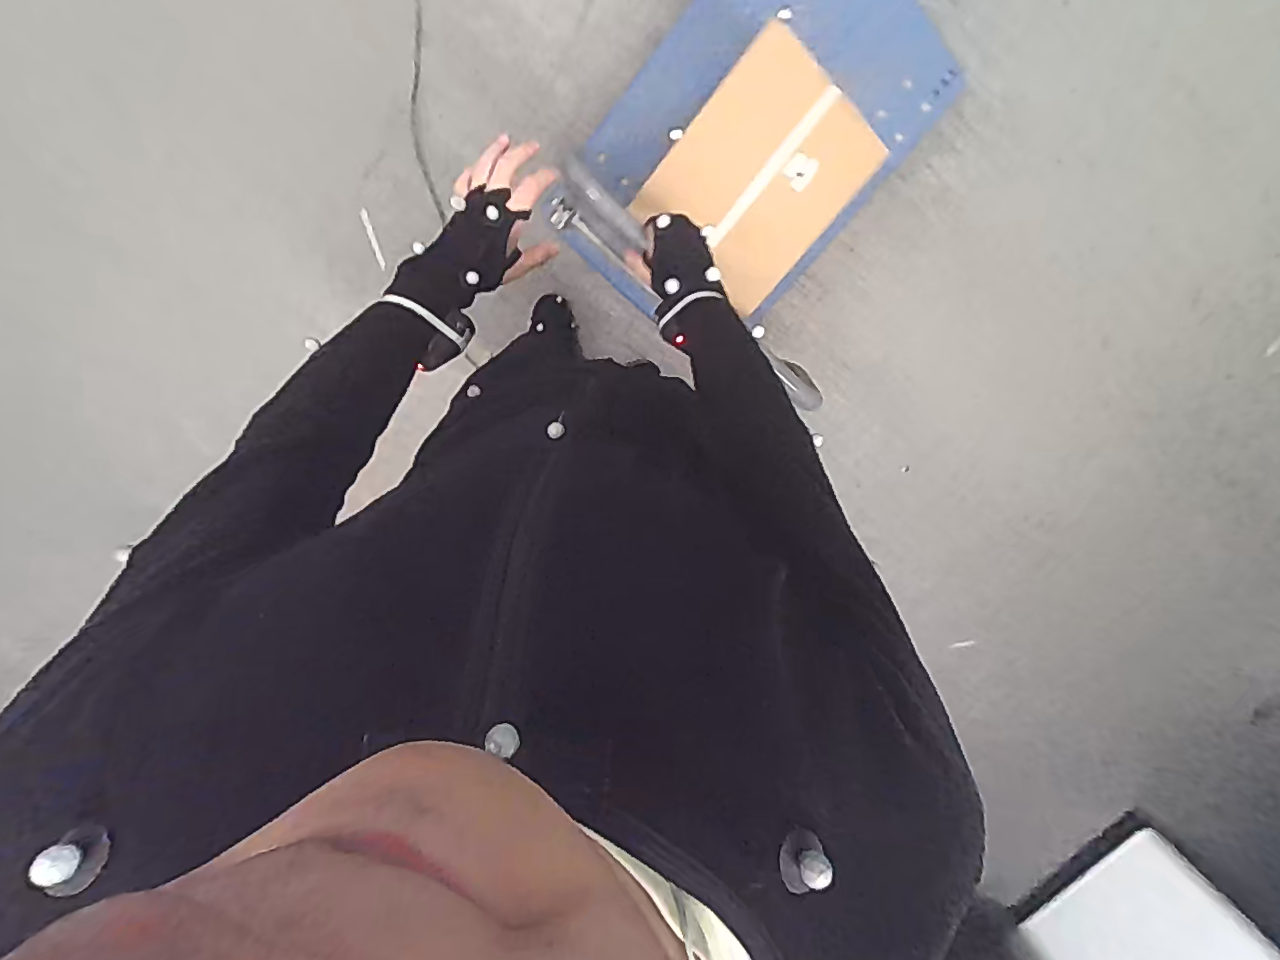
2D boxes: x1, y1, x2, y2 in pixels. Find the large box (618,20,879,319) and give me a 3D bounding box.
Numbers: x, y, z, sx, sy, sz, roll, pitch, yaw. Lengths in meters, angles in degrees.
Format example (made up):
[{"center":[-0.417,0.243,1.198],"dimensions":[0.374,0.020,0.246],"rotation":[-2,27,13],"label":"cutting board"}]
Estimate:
[{"center":[0.196,-0.606,1.149],"dimensions":[0.320,0.320,0.408],"rotation":[37,103,-18],"label":"large box"}]
